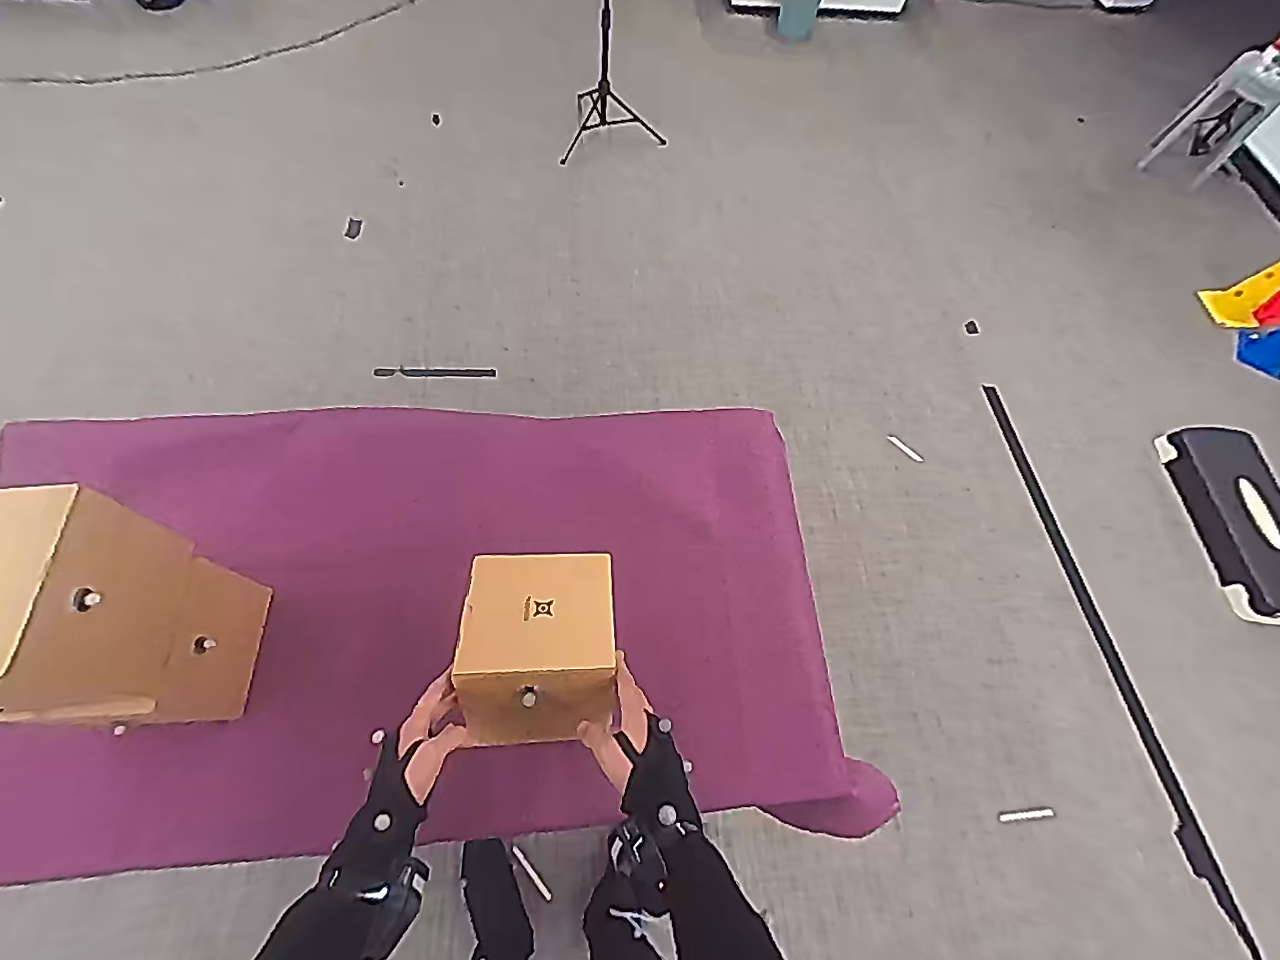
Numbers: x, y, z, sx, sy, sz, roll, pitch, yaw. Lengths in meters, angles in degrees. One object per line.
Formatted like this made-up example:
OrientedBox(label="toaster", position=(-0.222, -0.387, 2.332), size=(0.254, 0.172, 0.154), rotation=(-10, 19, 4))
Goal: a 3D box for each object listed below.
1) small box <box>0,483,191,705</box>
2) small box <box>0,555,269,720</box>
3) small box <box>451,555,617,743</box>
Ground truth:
OrientedBox(label="small box", position=(-0.591, 0.119, 0.527), size=(0.168, 0.176, 0.179), rotation=(-3, 64, -8))
OrientedBox(label="small box", position=(-0.602, 0.201, 0.670), size=(0.168, 0.176, 0.179), rotation=(1, 64, -6))
OrientedBox(label="small box", position=(-0.122, 0.212, 0.685), size=(0.179, 0.176, 0.168), rotation=(-1, 39, -5))
